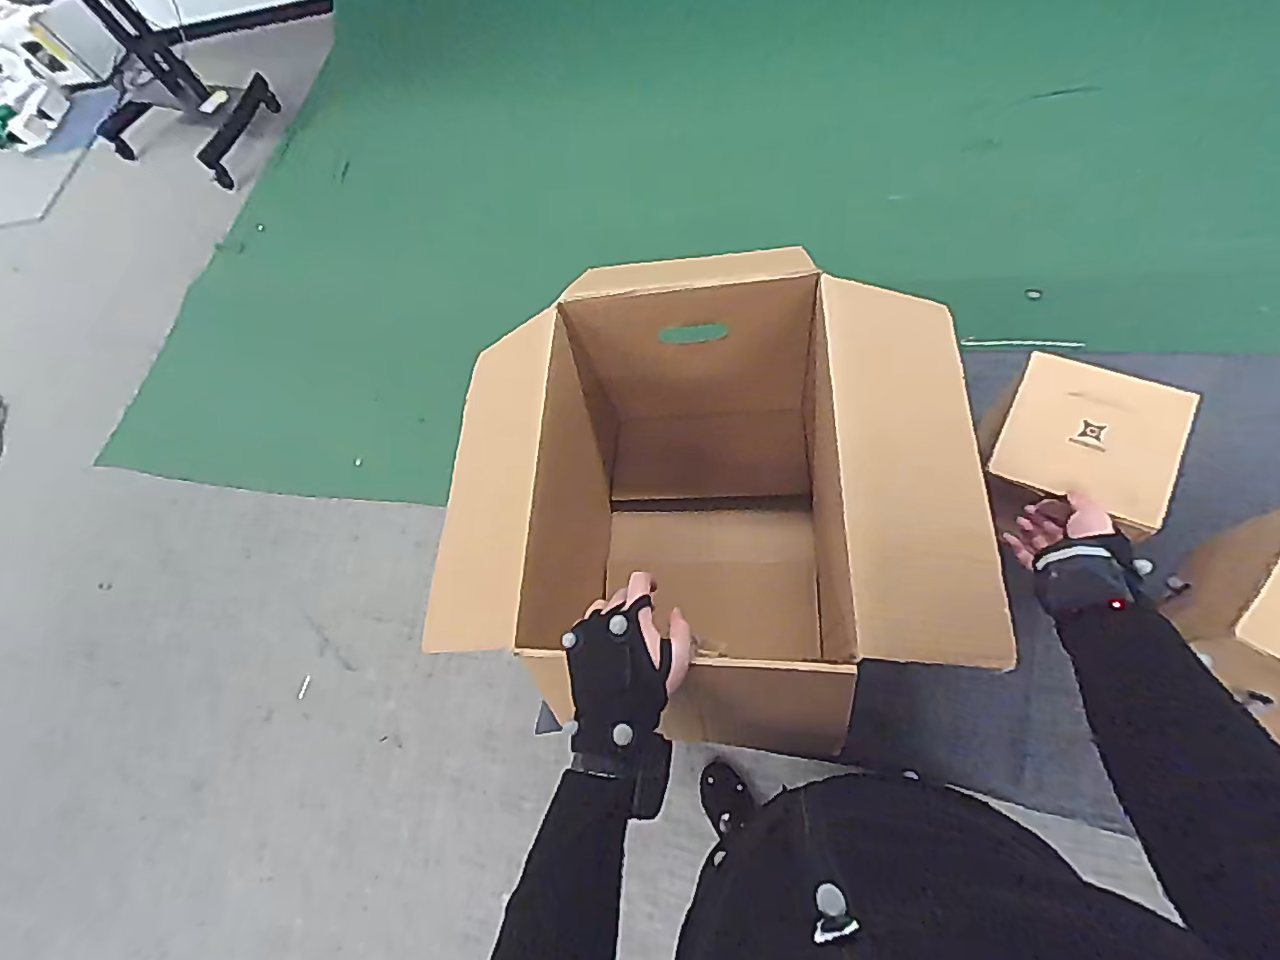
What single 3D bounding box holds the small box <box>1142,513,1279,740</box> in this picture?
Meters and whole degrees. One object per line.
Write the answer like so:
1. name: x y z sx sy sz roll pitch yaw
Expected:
1. small box: 0.685 0.157 0.559 0.168 0.176 0.179 38 82 24
